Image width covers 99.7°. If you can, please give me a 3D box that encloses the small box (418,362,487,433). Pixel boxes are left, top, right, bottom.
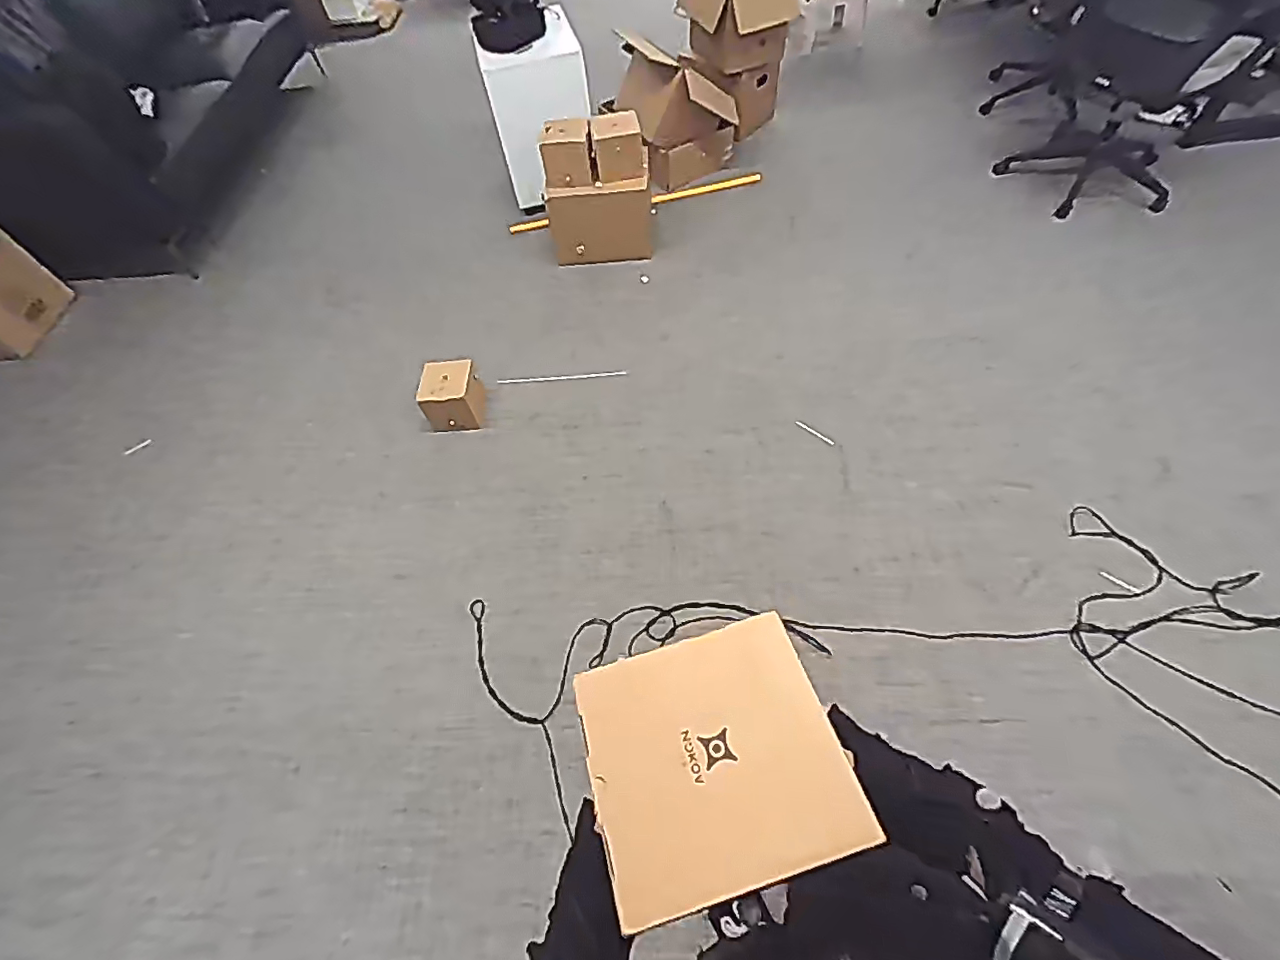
[{"bbox_3d":[-0.639,-0.285,1.869,0.168,0.176,0.179,-4,57,3],"label":"small box"}]

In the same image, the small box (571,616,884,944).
[{"bbox_3d":[0.060,0.239,0.439,0.179,0.176,0.168,-18,52,-3],"label":"small box"}]
